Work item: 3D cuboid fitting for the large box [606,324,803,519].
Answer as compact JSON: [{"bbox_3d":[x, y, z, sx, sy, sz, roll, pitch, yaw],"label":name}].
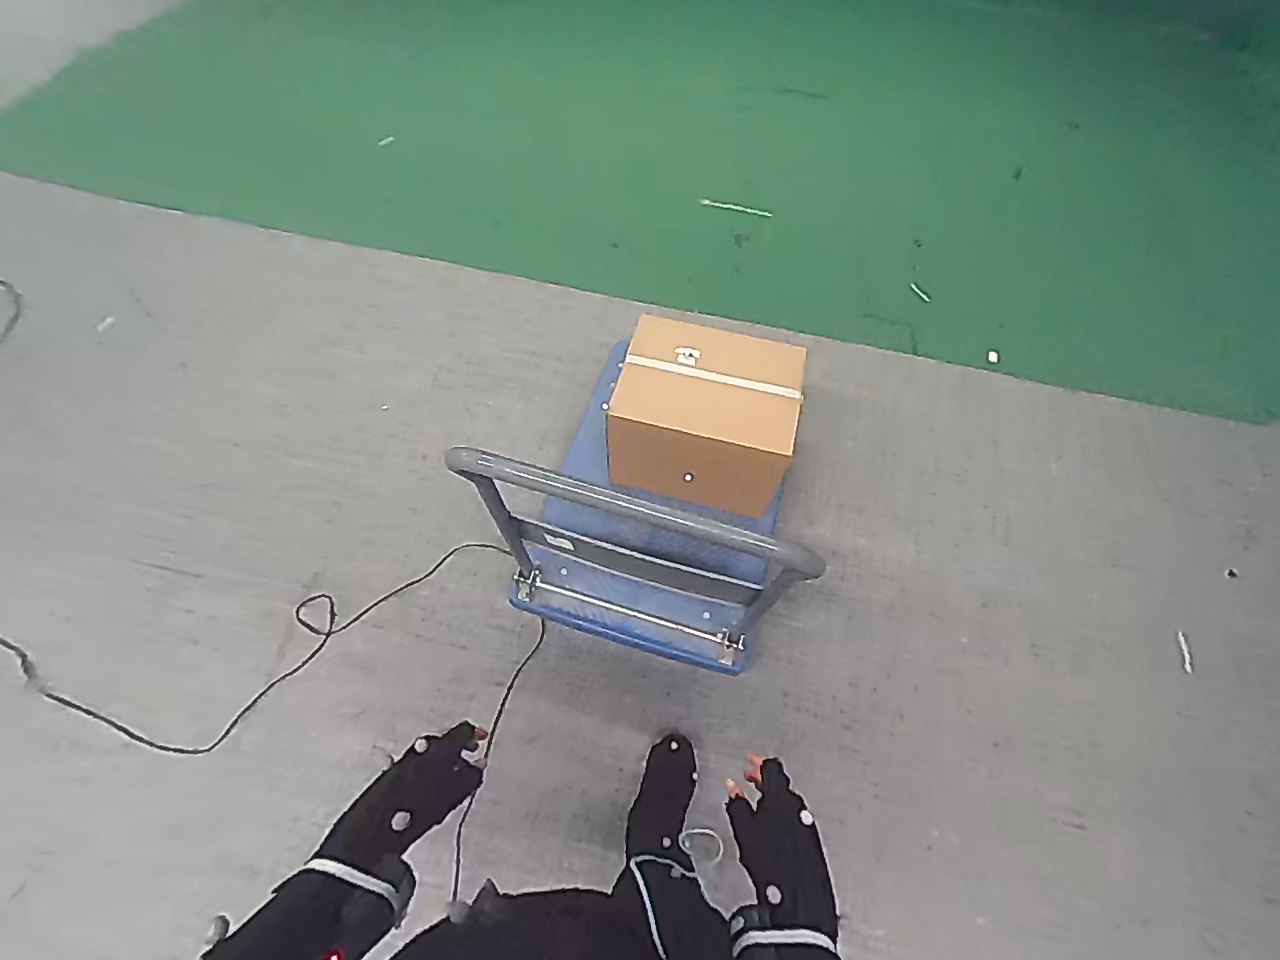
[{"bbox_3d":[0.156,-0.137,1.347,0.408,0.320,0.320,13,60,7],"label":"large box"}]
